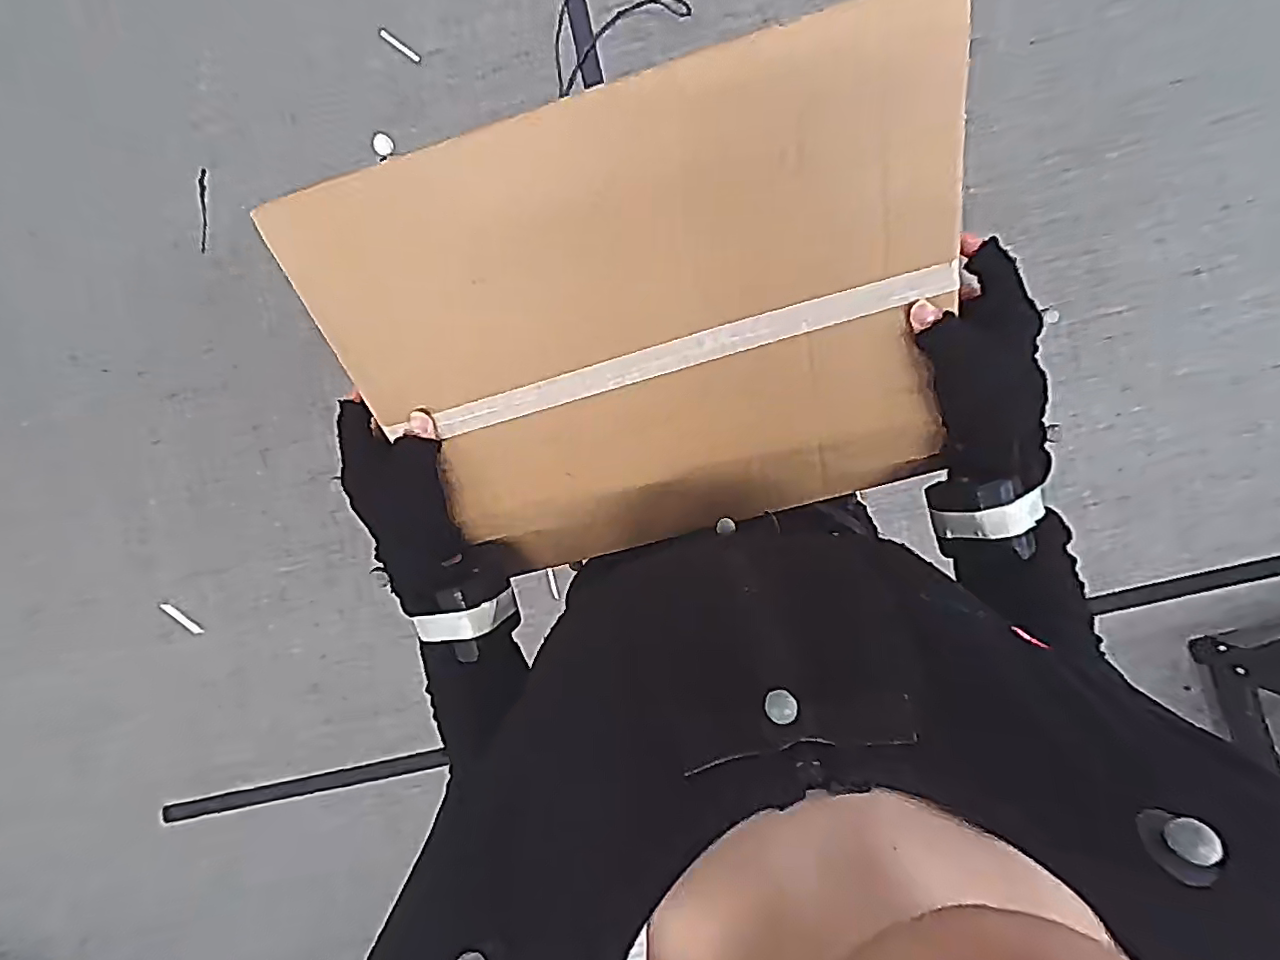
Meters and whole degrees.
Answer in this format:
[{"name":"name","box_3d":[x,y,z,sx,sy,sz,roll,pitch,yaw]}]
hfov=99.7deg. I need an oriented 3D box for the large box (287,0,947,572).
[{"name":"large box","box_3d":[0.004,-0.168,0.509,0.408,0.320,0.320,-15,124,6]}]
